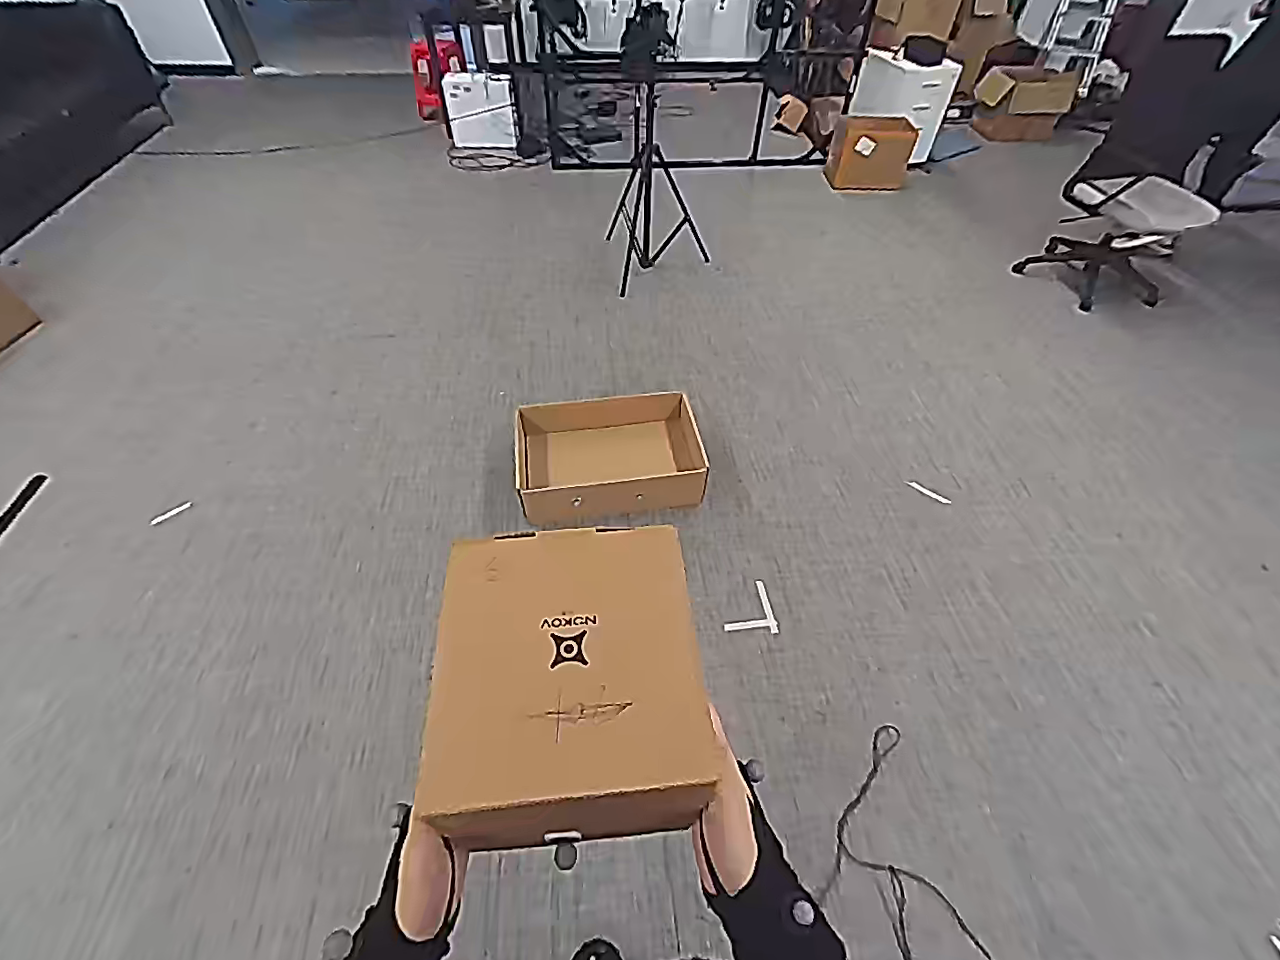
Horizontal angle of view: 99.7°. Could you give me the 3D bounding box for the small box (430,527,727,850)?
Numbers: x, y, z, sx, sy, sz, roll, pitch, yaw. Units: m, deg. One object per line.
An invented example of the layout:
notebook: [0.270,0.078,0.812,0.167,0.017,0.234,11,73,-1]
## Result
small box: [-0.044,0.157,0.409,0.168,0.176,0.179,-4,51,-6]
